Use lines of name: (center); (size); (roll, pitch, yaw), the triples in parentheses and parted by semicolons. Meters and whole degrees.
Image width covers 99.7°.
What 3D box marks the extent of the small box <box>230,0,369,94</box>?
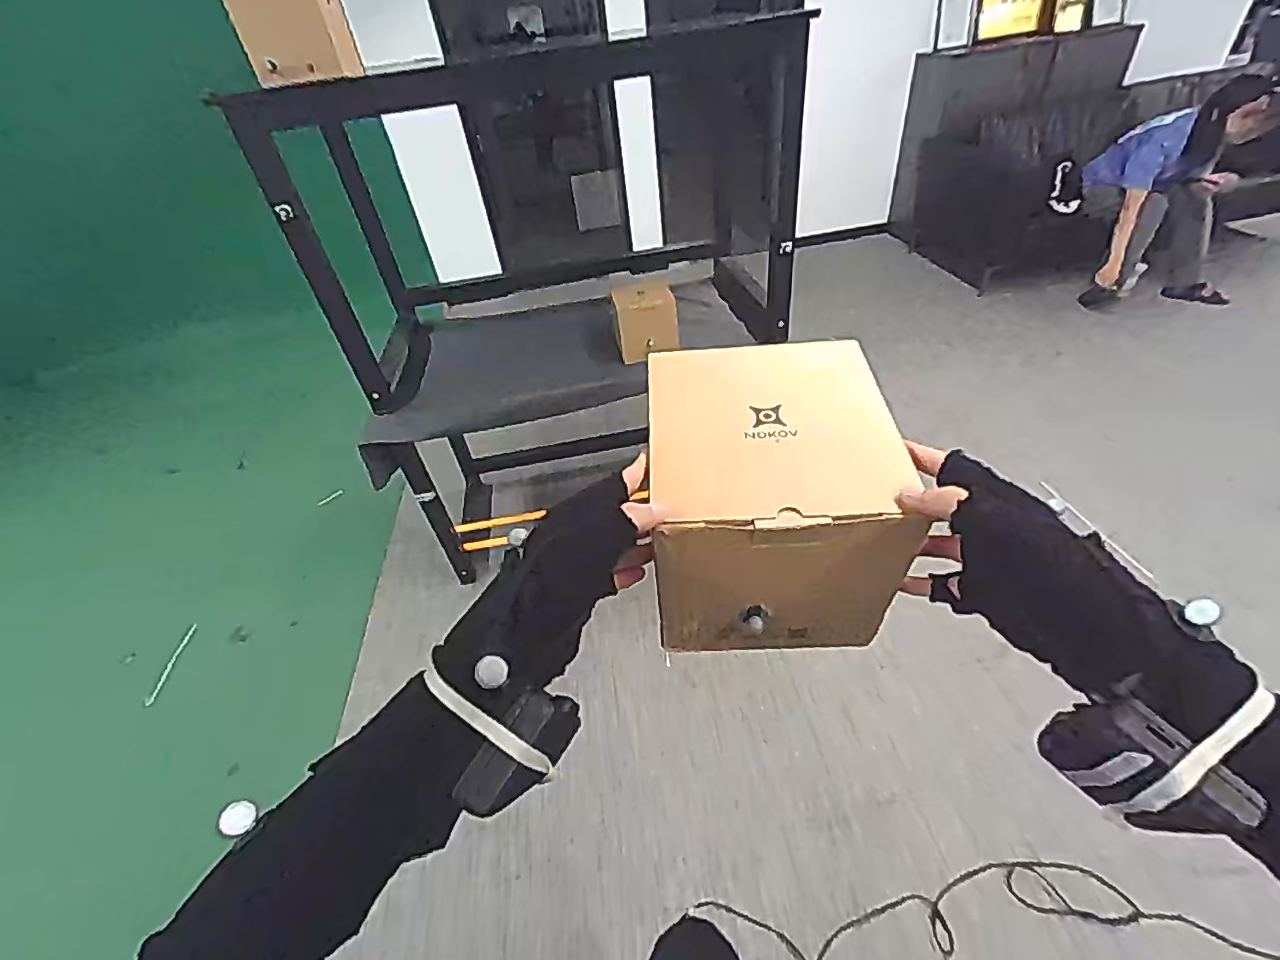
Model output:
small box: (-0.681, -0.900, 1.102); (0.168, 0.176, 0.179); (-11, 39, -5)

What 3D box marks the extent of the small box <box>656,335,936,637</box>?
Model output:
small box: (0.098, 0.006, 0.434); (0.168, 0.176, 0.179); (-3, 47, 3)

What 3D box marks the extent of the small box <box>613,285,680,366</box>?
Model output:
small box: (0.018, -0.458, 1.601); (0.168, 0.176, 0.179); (-12, 39, -3)
